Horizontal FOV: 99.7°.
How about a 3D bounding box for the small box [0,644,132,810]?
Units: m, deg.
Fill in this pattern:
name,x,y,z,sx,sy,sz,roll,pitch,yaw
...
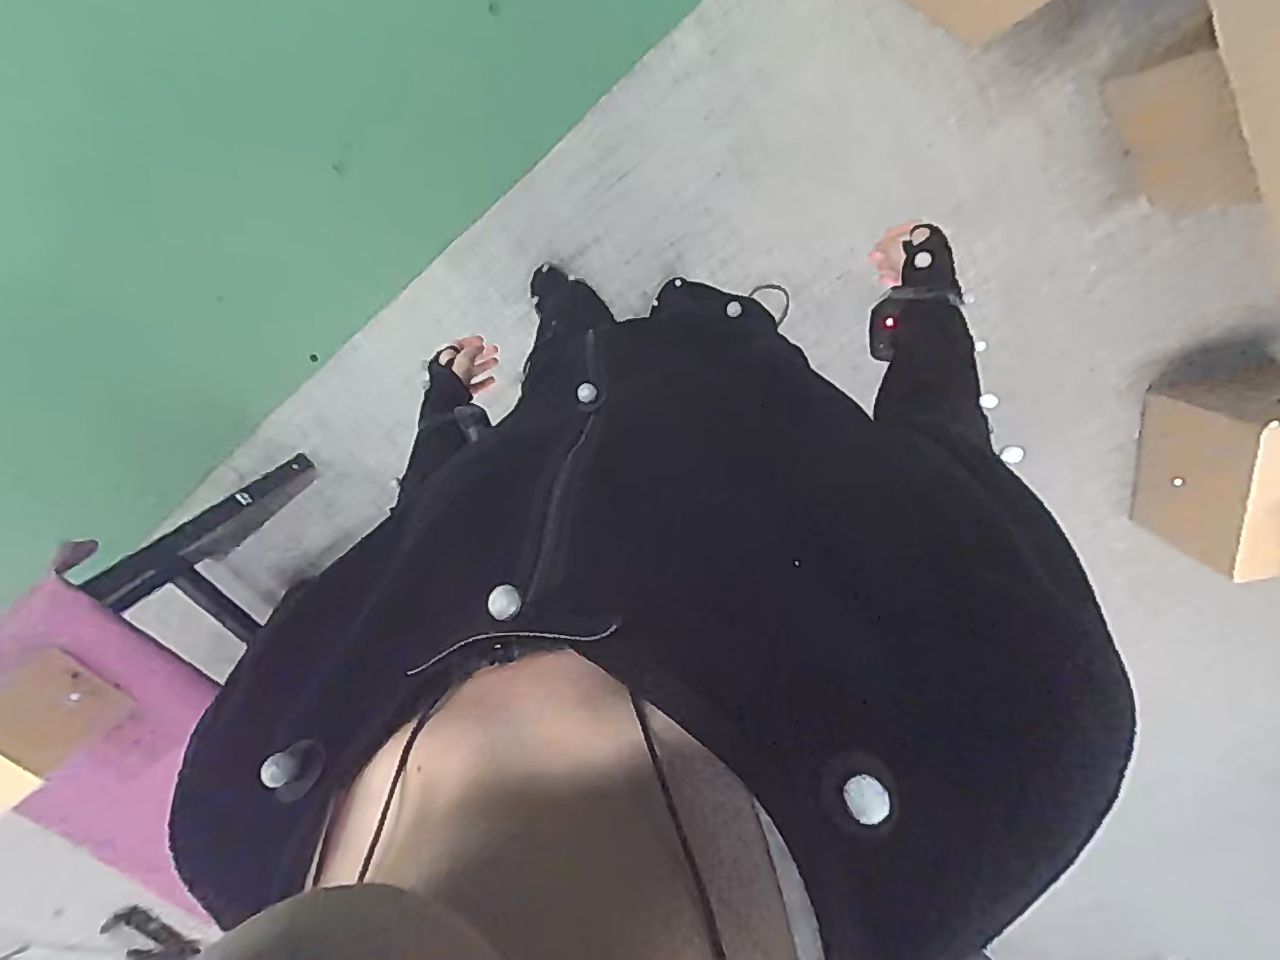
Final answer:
name,x,y,z,sx,sy,sz,roll,pitch,yaw
small box,-1.063,0.426,0.945,0.179,0.176,0.168,-33,109,17
